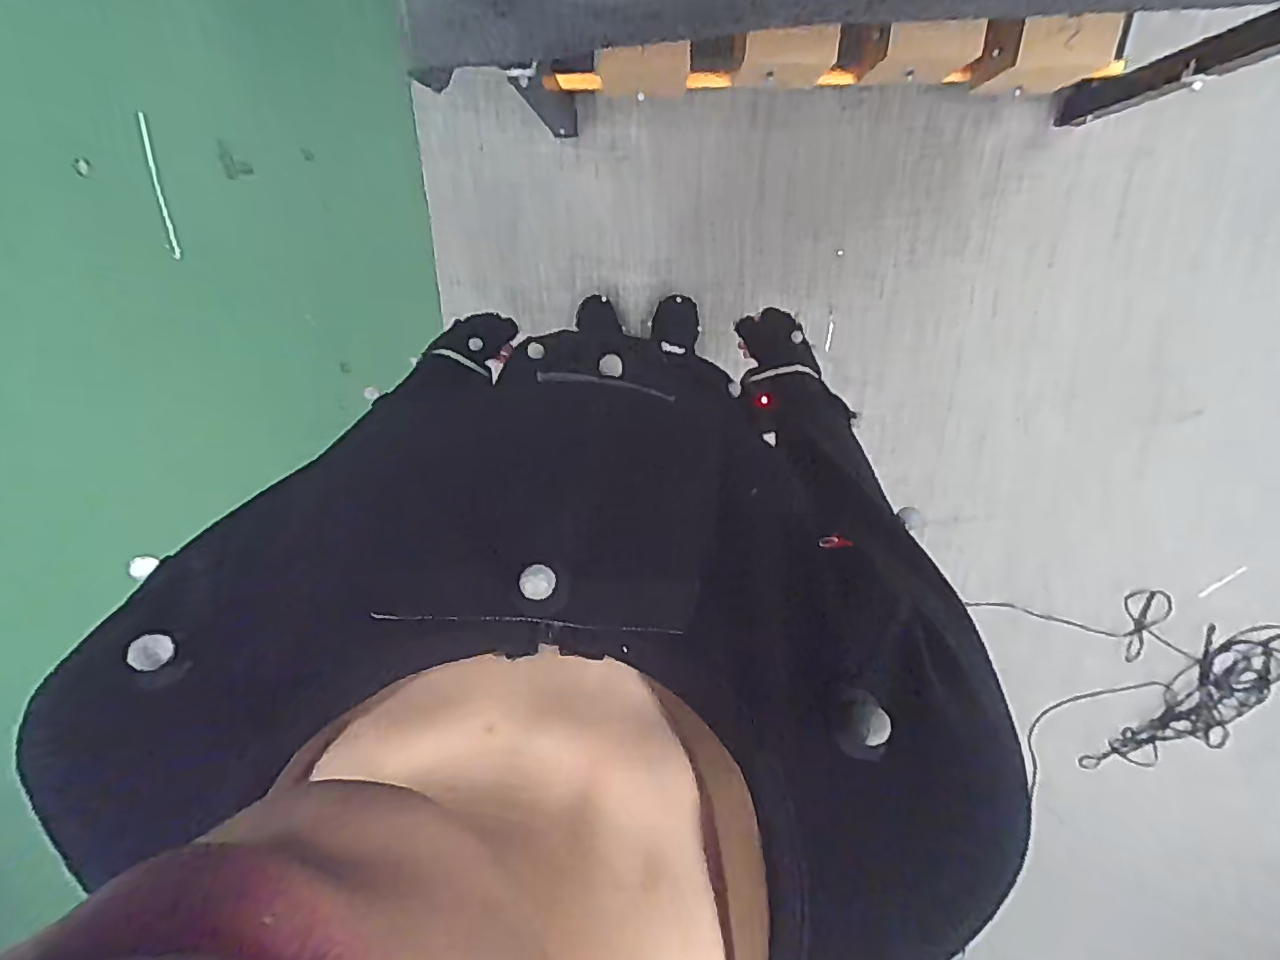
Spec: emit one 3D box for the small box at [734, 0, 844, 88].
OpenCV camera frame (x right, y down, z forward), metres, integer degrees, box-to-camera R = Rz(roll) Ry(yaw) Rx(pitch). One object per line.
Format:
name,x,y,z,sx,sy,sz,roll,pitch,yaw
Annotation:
small box,0.270,-0.846,0.996,0.168,0.176,0.179,1,112,1

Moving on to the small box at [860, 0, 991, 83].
small box,0.515,-0.848,0.986,0.168,0.176,0.179,1,111,3
